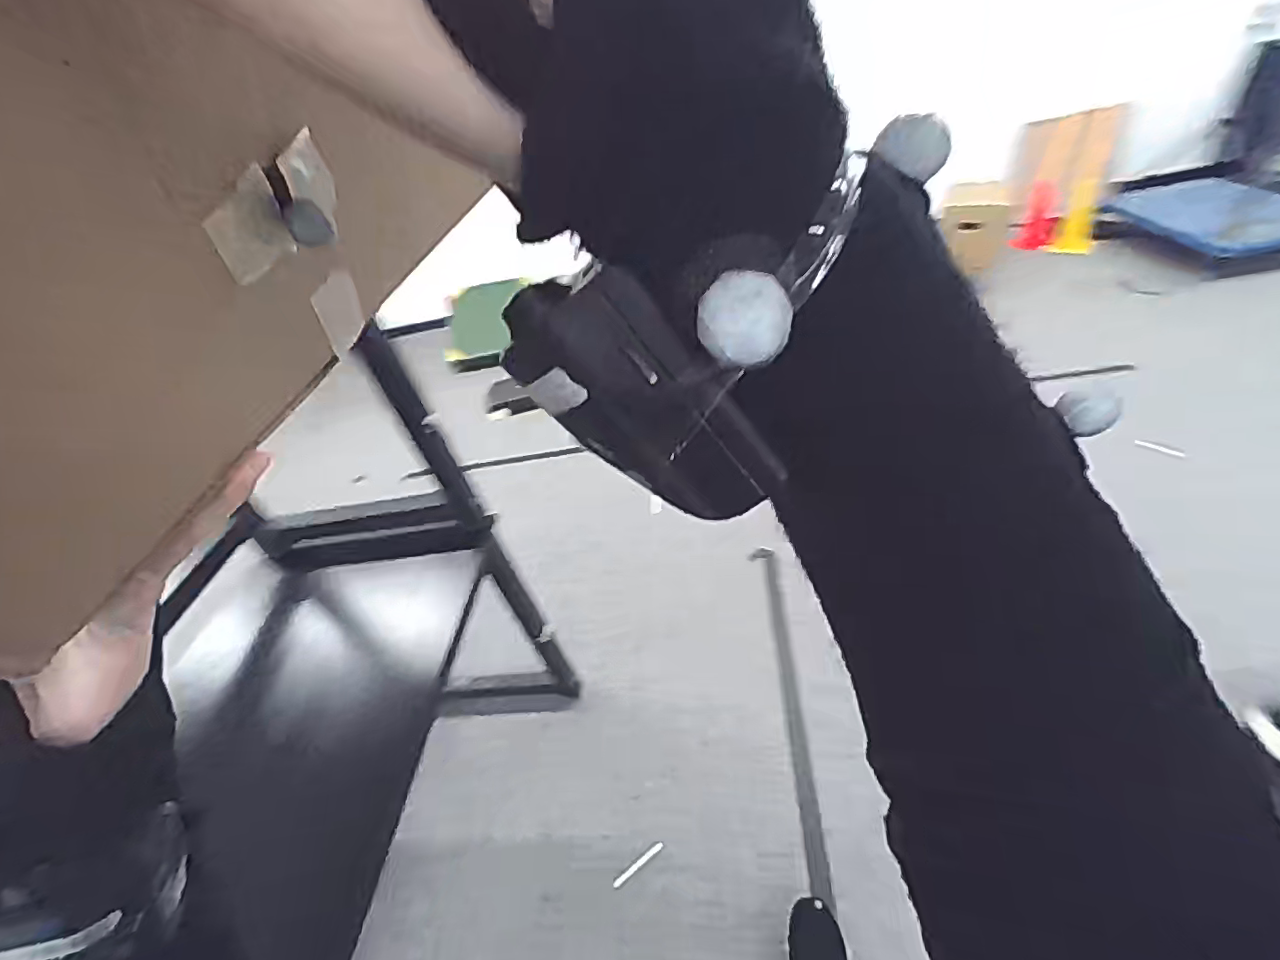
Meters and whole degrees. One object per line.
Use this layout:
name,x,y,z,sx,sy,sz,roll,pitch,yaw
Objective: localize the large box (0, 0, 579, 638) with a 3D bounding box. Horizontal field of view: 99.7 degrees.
large box,-0.231,-0.214,0.086,0.408,0.320,0.320,30,61,-6
